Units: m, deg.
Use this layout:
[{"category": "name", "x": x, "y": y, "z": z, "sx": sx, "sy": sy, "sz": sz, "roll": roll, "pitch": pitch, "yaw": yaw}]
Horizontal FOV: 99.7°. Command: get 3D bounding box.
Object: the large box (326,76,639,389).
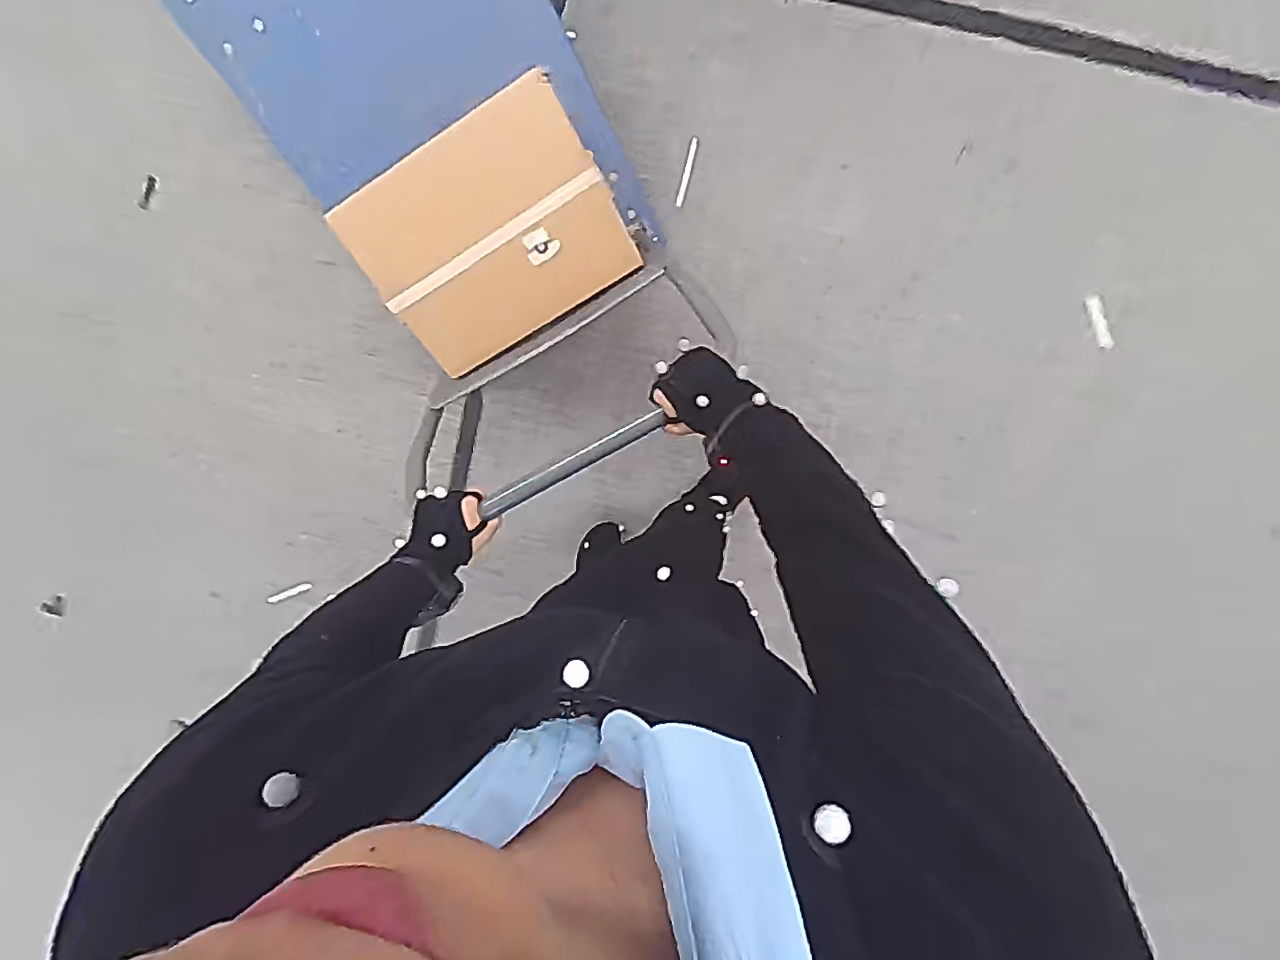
[{"category": "large box", "x": -0.263, "y": -0.439, "z": 1.000, "sx": 0.408, "sy": 0.320, "sz": 0.320, "roll": -30, "pitch": 119, "yaw": 8}]
